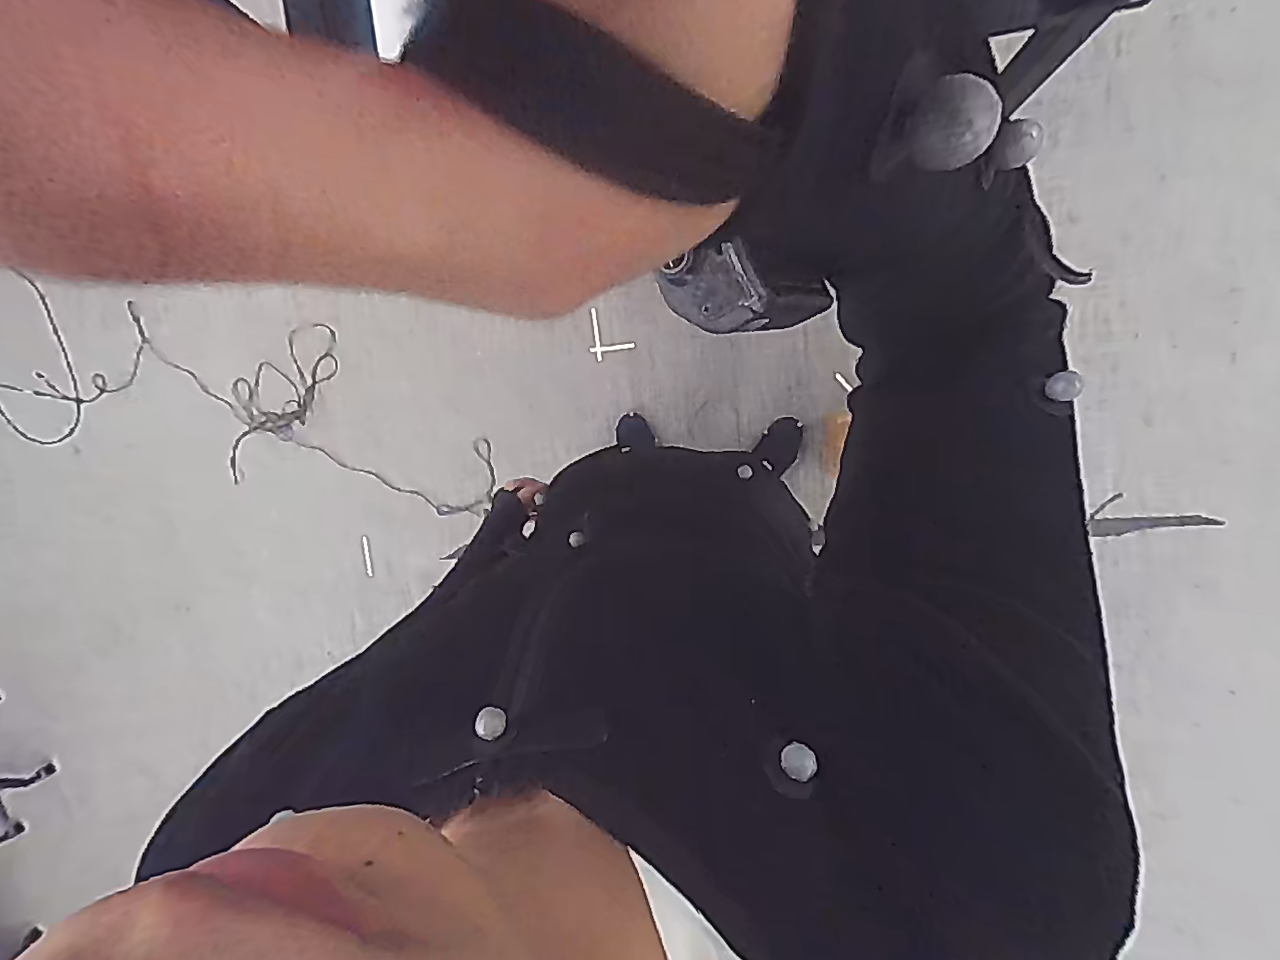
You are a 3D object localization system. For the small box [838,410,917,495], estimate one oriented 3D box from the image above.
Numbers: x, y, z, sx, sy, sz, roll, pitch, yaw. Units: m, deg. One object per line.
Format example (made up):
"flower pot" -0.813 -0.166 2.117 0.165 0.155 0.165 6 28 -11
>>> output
"small box" 0.589 -0.071 1.294 0.179 0.176 0.168 -9 98 10
